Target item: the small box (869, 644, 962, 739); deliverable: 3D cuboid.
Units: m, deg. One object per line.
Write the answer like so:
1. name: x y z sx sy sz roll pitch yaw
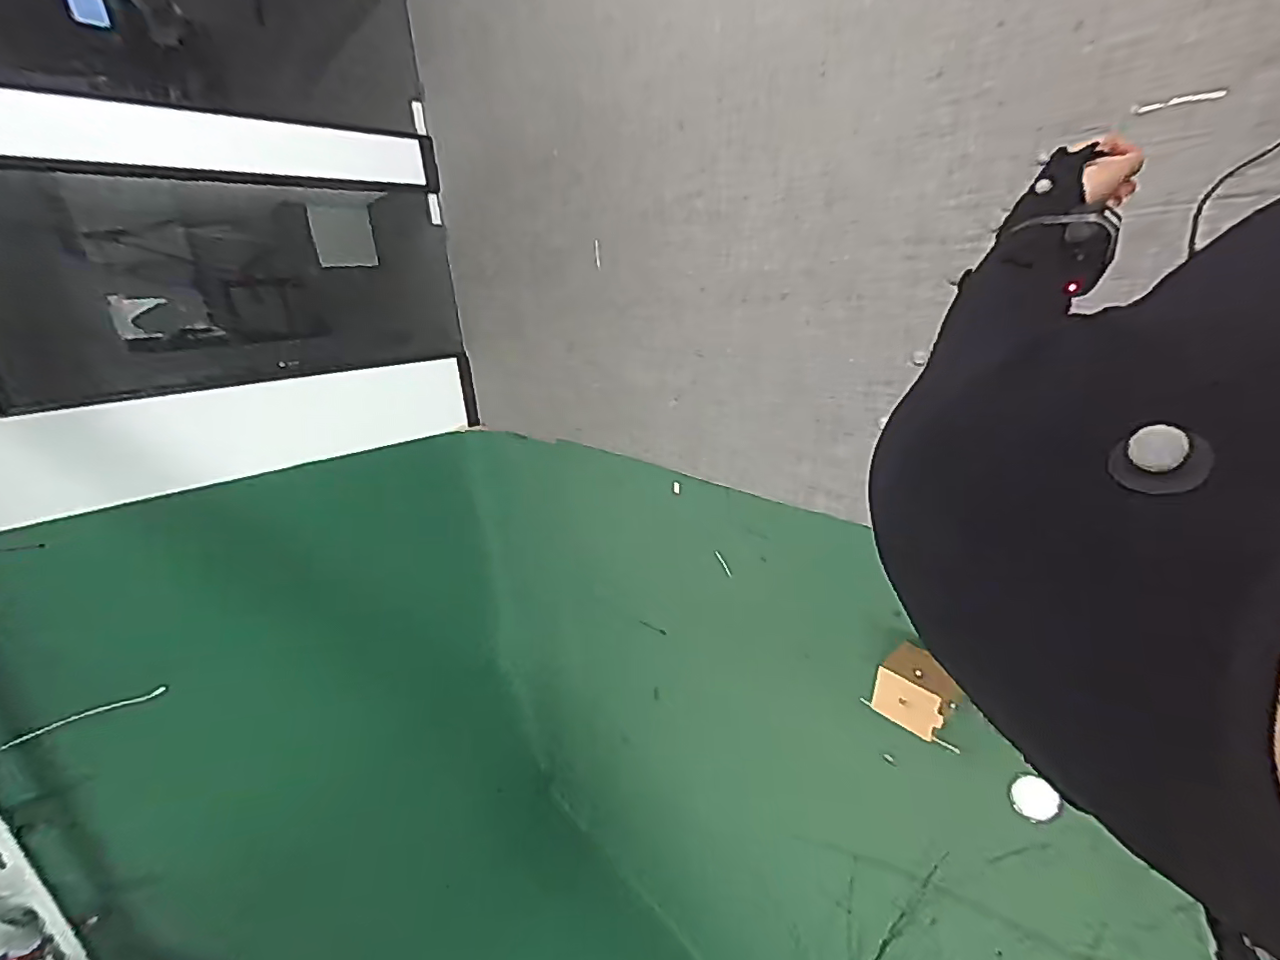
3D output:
1. small box: 0.813 0.612 1.597 0.179 0.176 0.168 23 121 43
